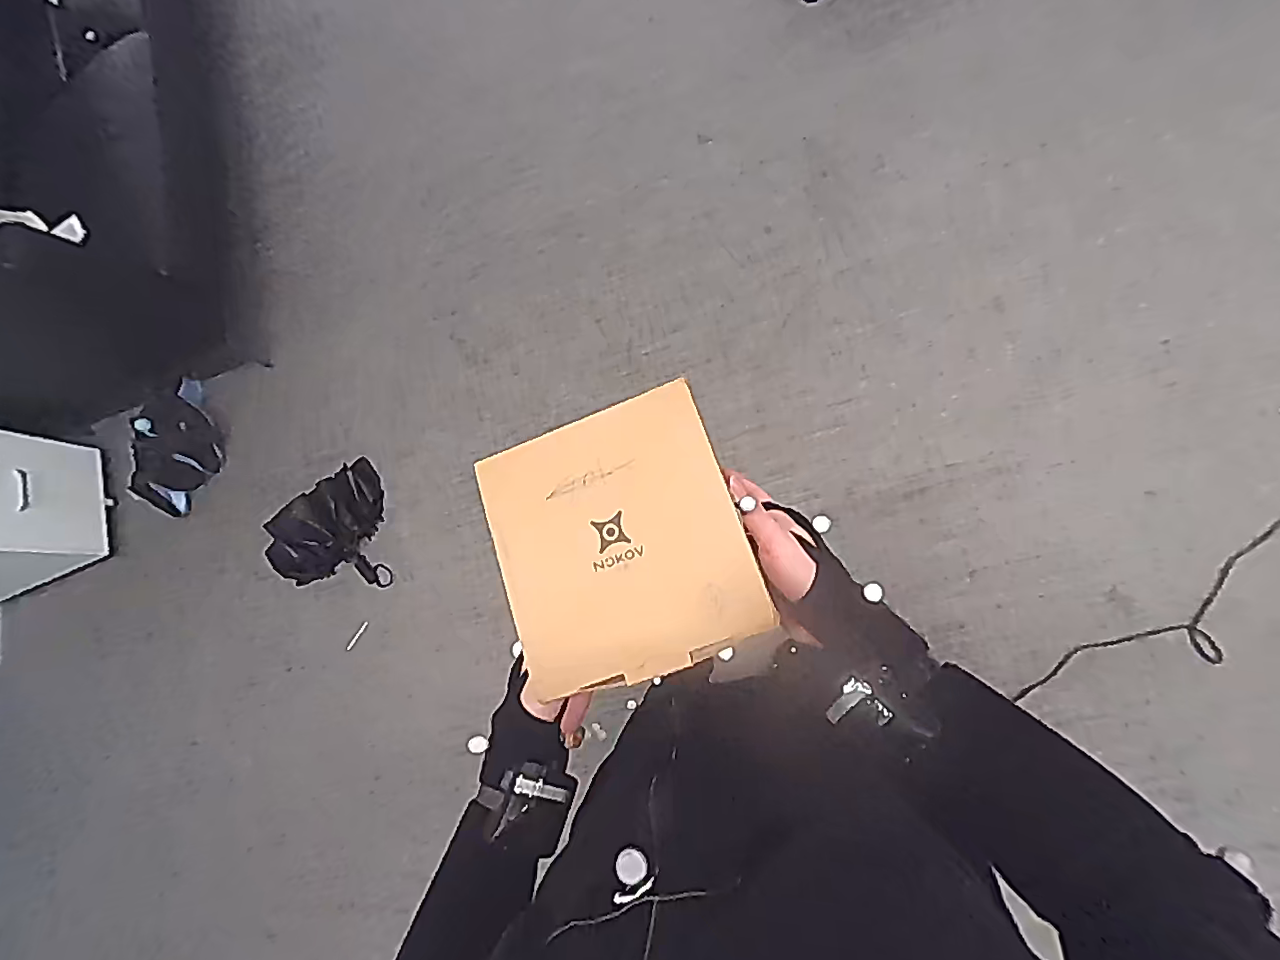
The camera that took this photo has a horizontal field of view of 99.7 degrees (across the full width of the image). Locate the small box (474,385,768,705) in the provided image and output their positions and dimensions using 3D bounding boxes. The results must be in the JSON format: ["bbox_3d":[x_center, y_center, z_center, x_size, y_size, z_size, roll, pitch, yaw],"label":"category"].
[{"bbox_3d":[-0.002,0.055,0.437,0.168,0.176,0.179,-22,74,8],"label":"small box"}]
